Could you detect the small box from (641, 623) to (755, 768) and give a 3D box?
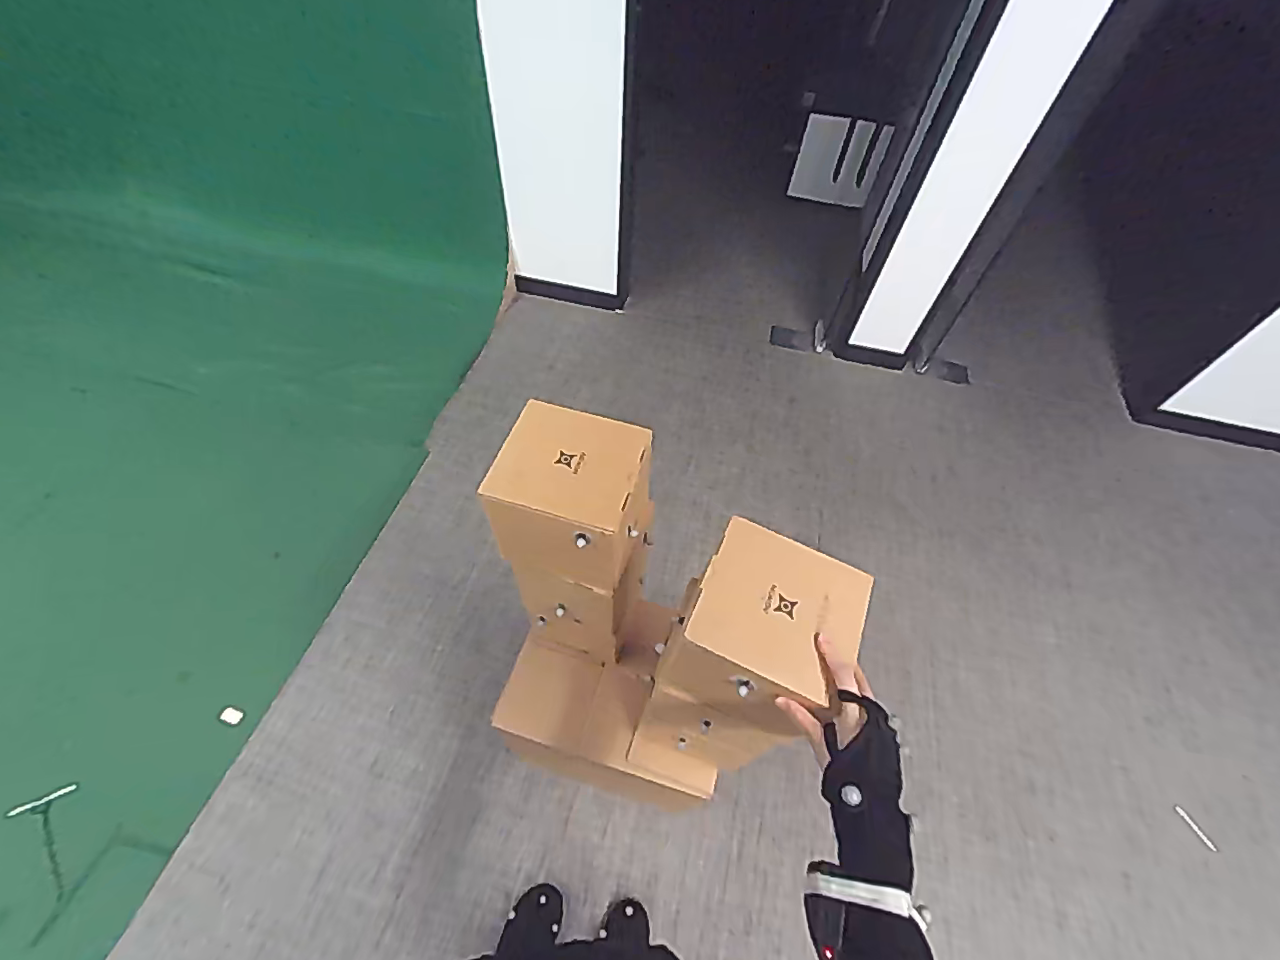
[{"bbox_3d":[0.107,0.369,0.914,0.179,0.176,0.168,17,57,8],"label":"small box"}]

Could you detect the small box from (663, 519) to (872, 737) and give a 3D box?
[{"bbox_3d":[0.141,0.182,0.644,0.179,0.176,0.168,25,56,9],"label":"small box"}]

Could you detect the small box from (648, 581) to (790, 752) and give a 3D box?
[{"bbox_3d":[0.122,0.275,0.780,0.179,0.176,0.168,18,56,8],"label":"small box"}]
